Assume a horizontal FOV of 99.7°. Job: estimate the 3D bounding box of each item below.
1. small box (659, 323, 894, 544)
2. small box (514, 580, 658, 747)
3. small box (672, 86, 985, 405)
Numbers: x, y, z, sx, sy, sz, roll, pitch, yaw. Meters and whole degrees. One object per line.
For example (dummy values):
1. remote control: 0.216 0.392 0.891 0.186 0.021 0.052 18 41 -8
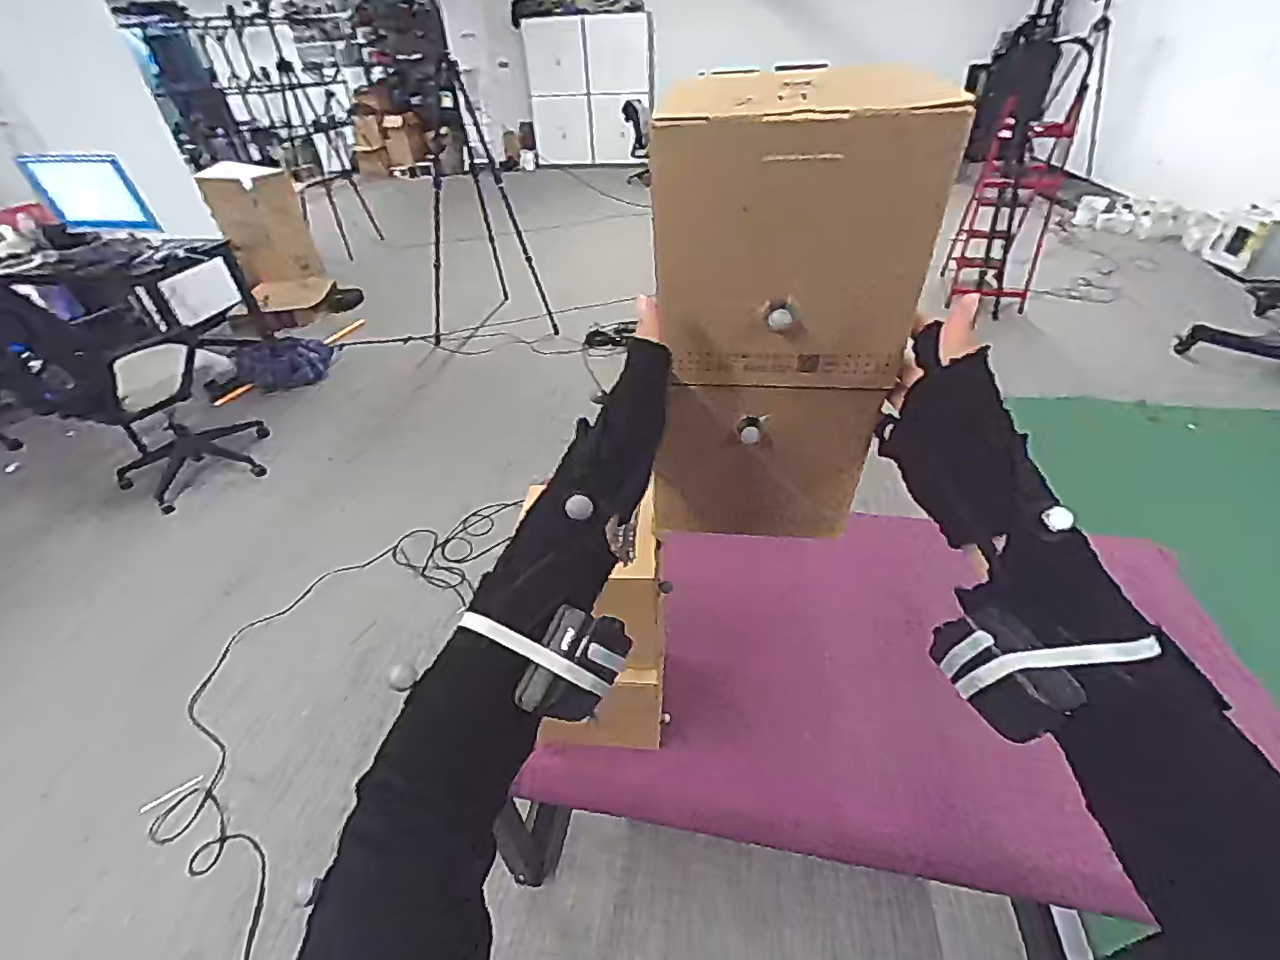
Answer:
1. small box: 0.113 -0.056 0.514 0.179 0.176 0.168 3 43 7
2. small box: -0.065 0.267 0.786 0.179 0.176 0.168 2 38 4
3. small box: 0.114 -0.177 0.402 0.168 0.176 0.179 4 44 9
